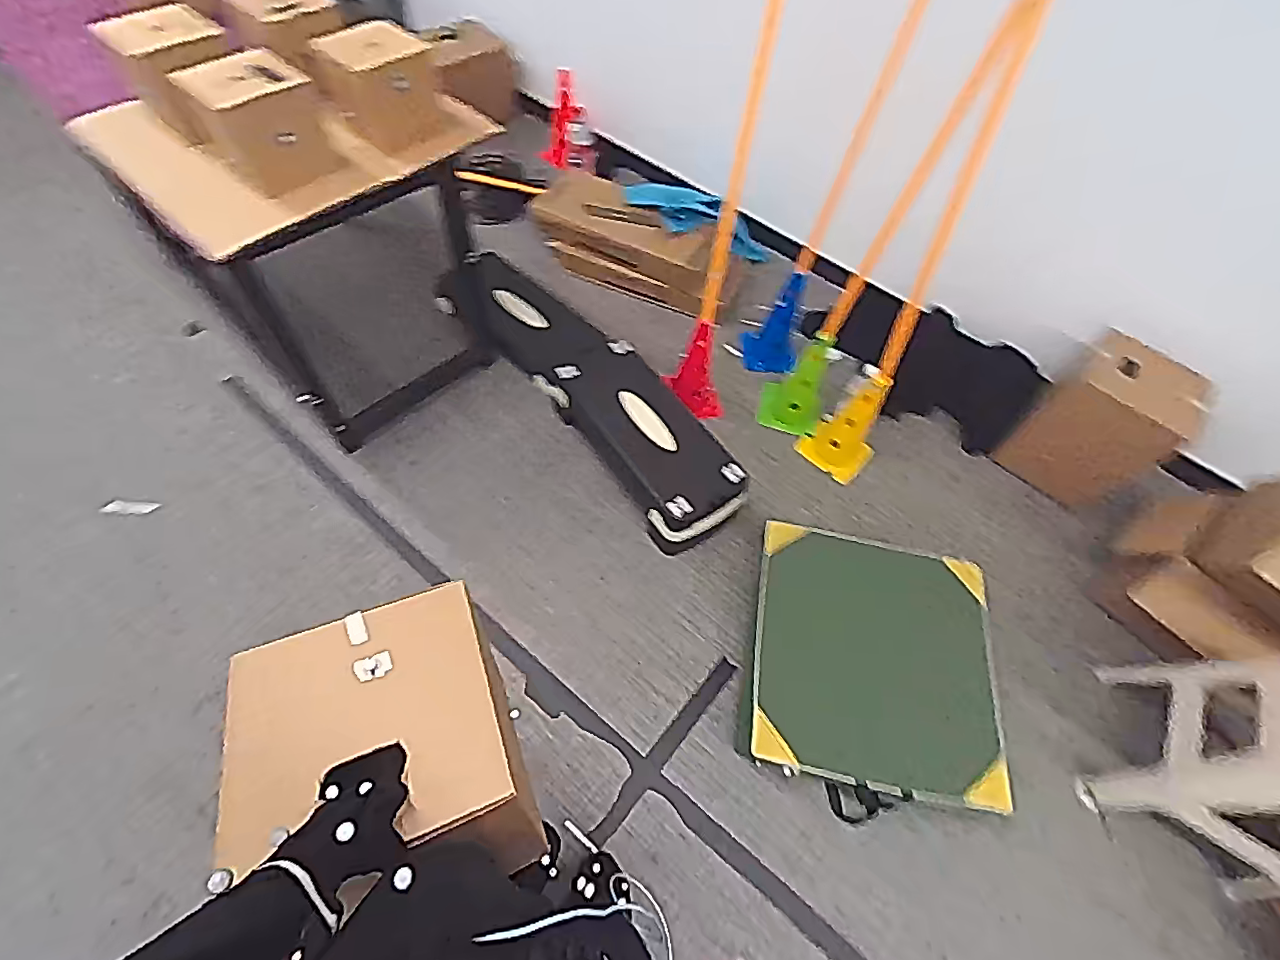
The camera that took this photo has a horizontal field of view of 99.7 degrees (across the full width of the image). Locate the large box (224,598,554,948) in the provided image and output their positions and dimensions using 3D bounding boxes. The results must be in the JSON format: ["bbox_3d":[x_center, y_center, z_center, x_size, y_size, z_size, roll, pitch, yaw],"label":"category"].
[{"bbox_3d":[-0.344,0.444,0.818,0.320,0.408,0.320,-17,52,-16],"label":"large box"}]
